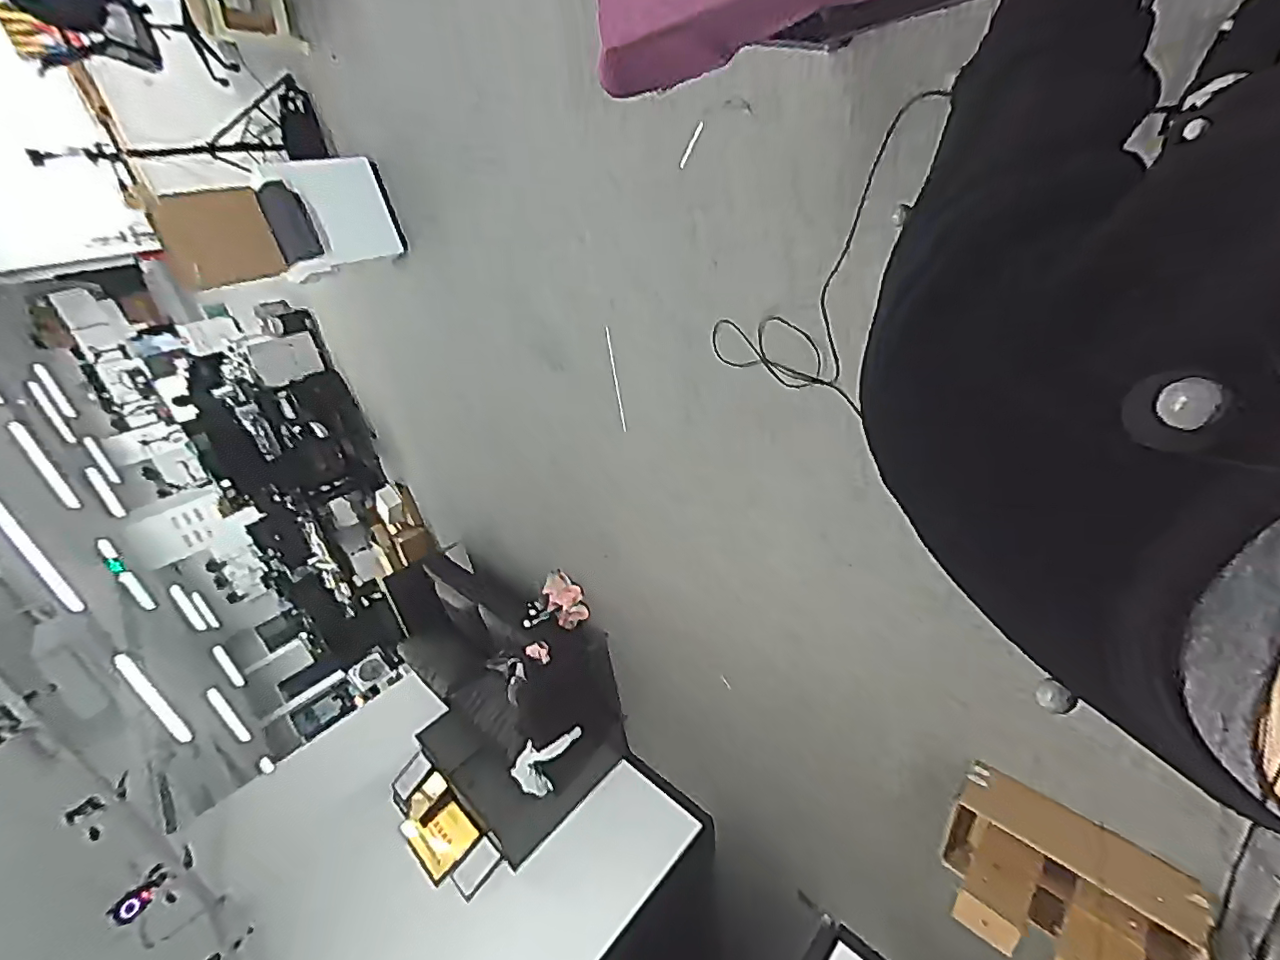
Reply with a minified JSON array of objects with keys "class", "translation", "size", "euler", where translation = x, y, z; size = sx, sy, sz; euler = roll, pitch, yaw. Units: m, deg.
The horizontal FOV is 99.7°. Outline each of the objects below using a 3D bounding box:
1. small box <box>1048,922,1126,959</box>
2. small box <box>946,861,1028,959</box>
[{"class":"small box","translation":[1.274,1.422,1.531],"size":[0.179,0.176,0.168],"euler":[20,128,43]},{"class":"small box","translation":[1.094,1.359,1.701],"size":[0.168,0.176,0.179],"euler":[21,129,40]}]
